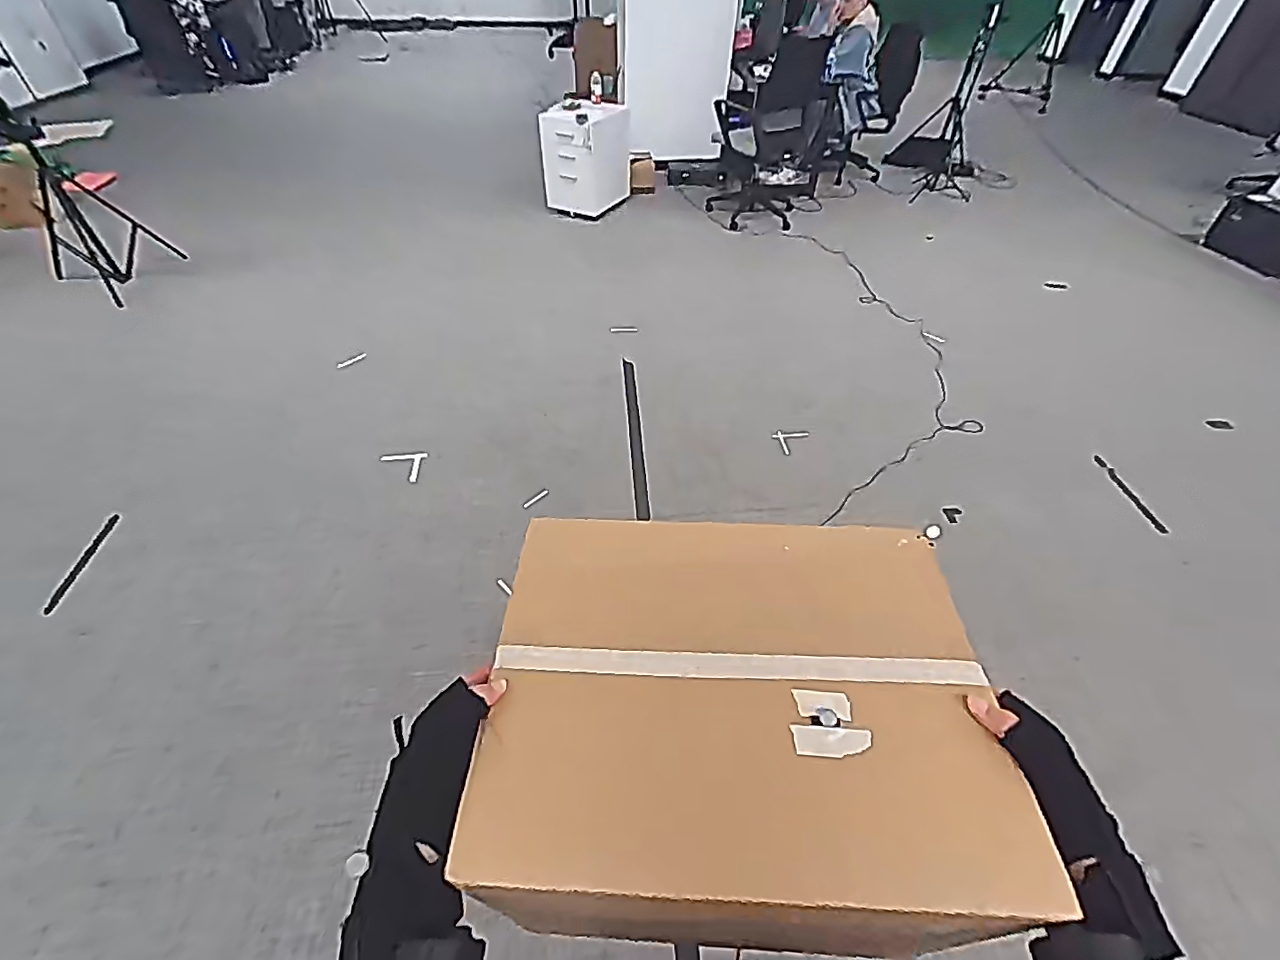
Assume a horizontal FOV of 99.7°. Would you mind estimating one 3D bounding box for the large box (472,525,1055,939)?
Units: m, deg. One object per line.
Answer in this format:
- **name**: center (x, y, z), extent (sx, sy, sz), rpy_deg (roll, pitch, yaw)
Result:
- **large box**: center (0.085, 0.265, 0.572), extent (0.408, 0.320, 0.320), rpy_deg (2, 46, 2)
